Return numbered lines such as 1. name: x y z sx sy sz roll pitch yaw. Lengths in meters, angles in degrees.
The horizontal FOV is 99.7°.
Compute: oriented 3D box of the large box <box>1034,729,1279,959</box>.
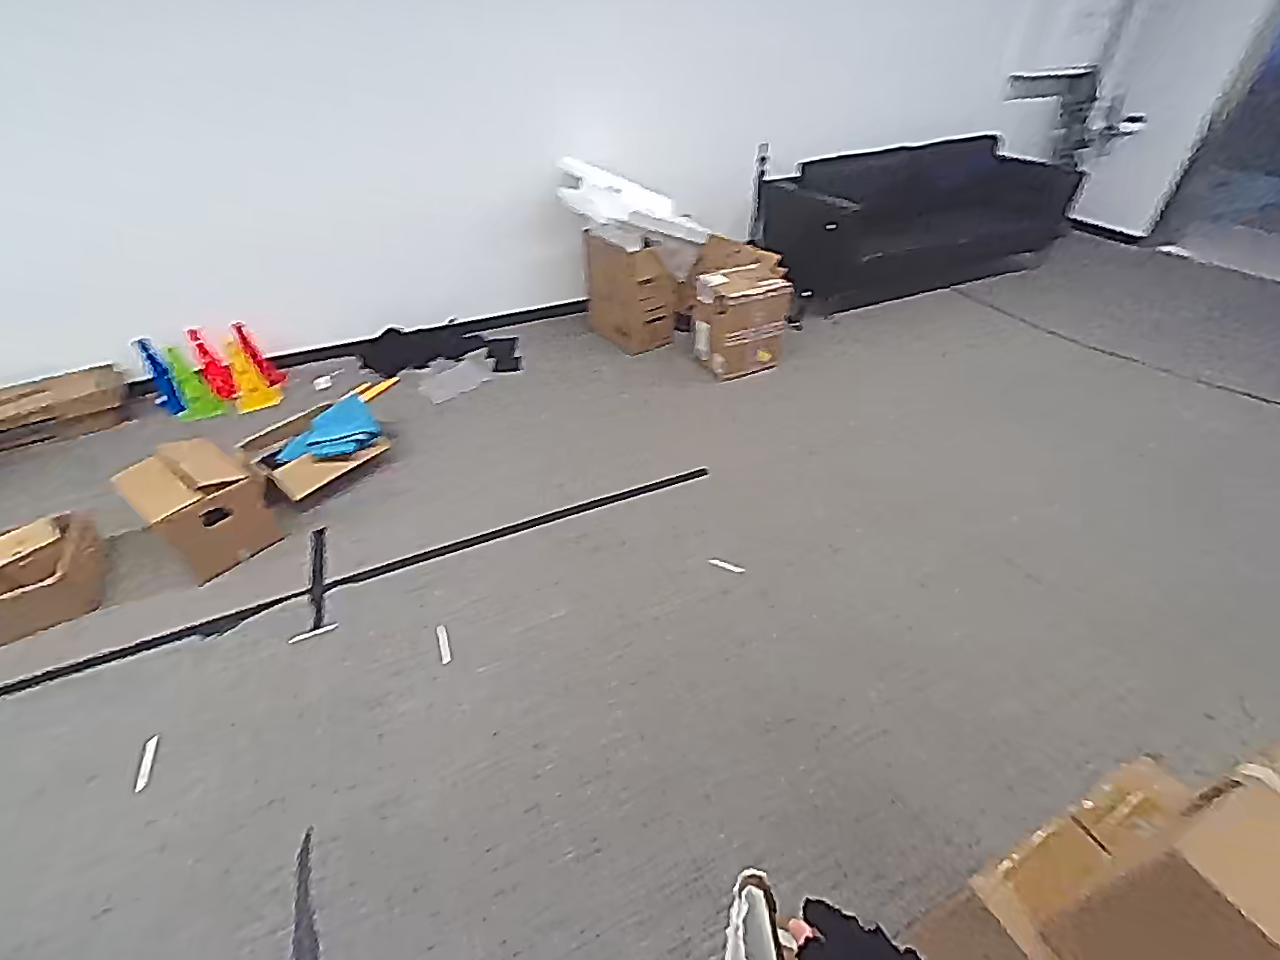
1. large box: 0.742 0.548 0.547 0.320 0.320 0.408 -19 43 -19
